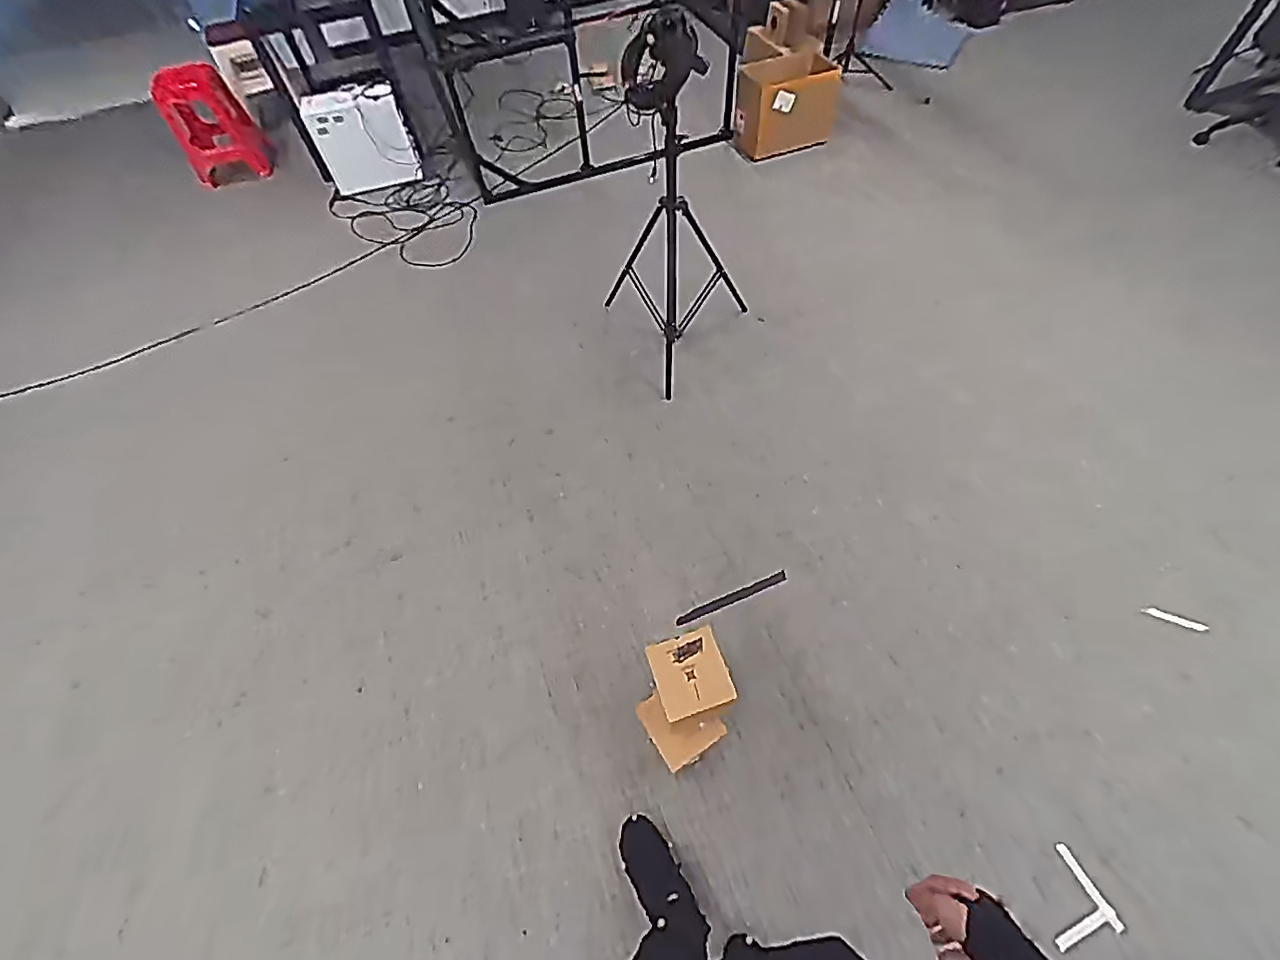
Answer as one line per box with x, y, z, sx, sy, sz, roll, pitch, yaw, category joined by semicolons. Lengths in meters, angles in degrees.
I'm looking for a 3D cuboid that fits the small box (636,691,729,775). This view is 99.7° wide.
0.105;0.625;1.382;0.168;0.176;0.179;-30;60;-14;small box

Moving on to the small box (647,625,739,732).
0.121;0.474;1.283;0.168;0.176;0.179;-18;58;-6;small box
